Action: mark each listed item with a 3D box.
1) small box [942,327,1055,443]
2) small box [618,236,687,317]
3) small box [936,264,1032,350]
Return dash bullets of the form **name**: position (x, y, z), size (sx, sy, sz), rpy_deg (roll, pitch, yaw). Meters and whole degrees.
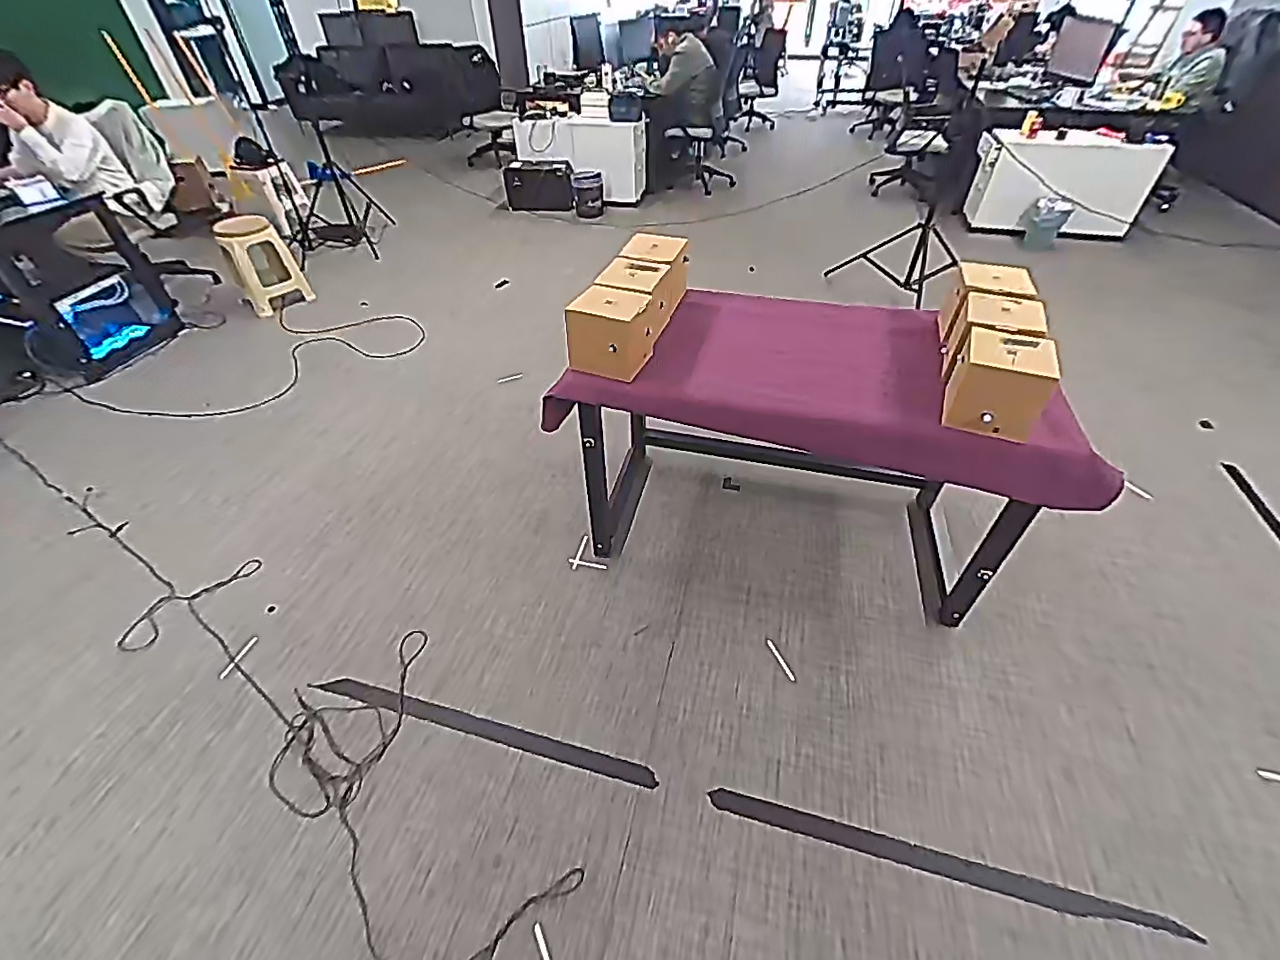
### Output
- **small box**: position (0.797, -0.213, 1.212), size (0.168, 0.176, 0.179), rpy_deg (17, 50, 22)
- **small box**: position (0.038, -0.623, 1.651), size (0.168, 0.176, 0.179), rpy_deg (13, 46, 14)
- **small box**: position (0.926, -0.464, 1.475), size (0.168, 0.176, 0.179), rpy_deg (13, 45, 13)
